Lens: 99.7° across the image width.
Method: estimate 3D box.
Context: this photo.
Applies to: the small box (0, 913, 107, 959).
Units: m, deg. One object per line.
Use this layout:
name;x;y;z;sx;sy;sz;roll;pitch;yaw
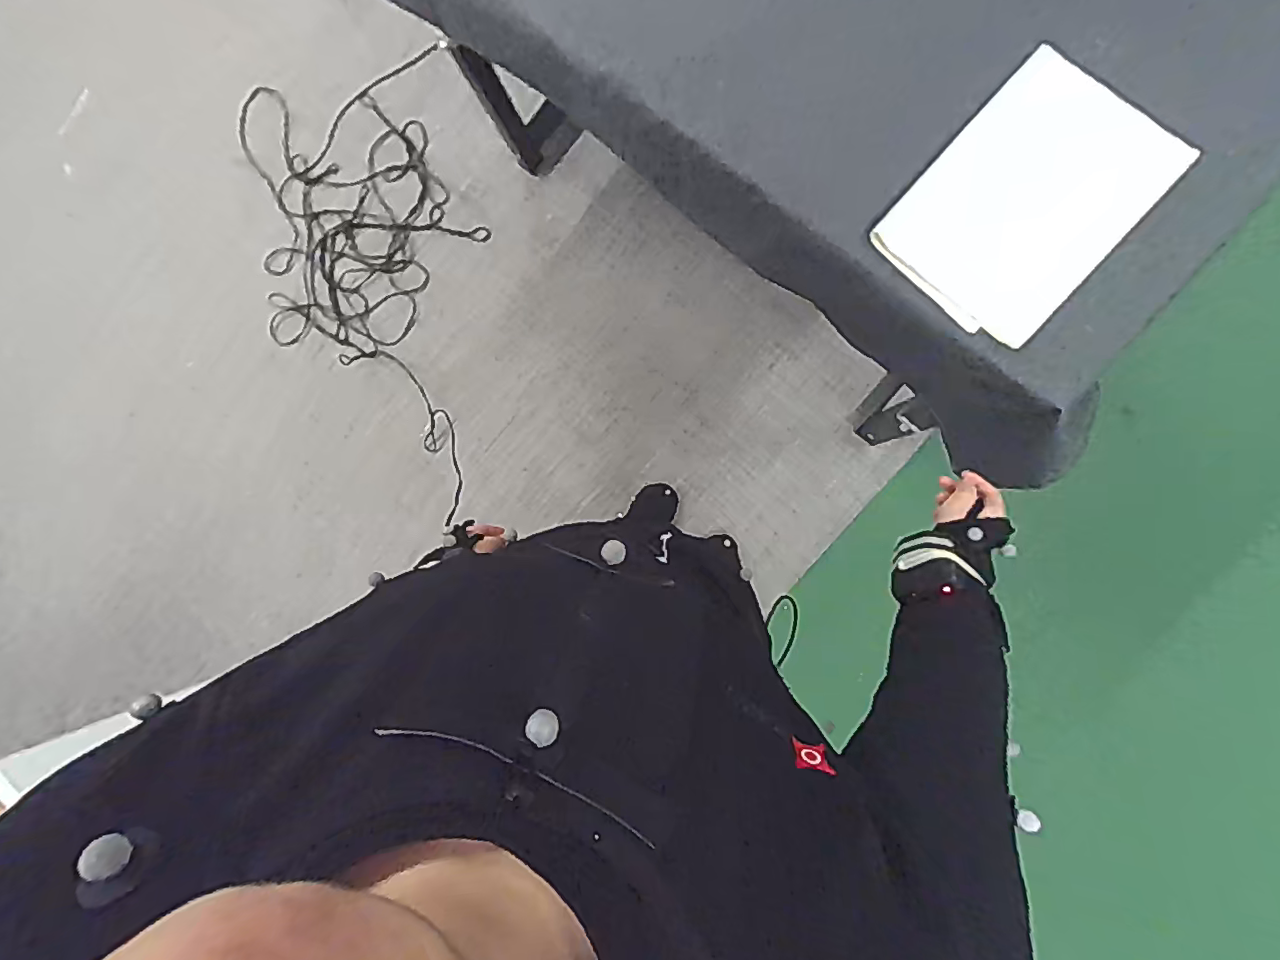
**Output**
small box;-0.944;0.816;0.809;0.179;0.176;0.168;-45;82;6
